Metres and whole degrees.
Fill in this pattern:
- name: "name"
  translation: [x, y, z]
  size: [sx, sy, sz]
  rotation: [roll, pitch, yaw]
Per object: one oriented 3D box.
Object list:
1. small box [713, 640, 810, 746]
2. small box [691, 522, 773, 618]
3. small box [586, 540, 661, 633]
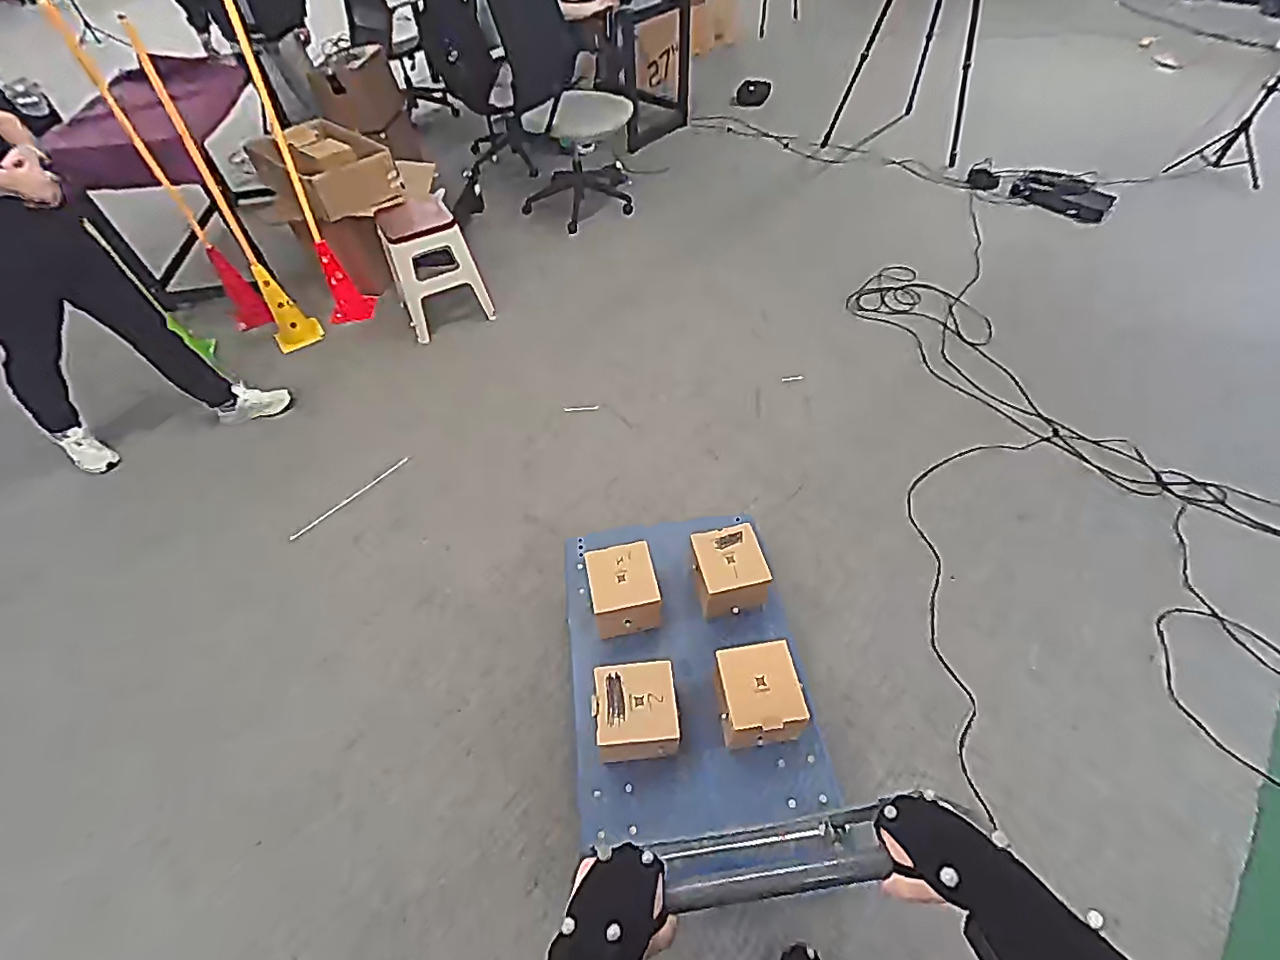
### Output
- name: "small box"
  translation: [0.269, 0.490, 1.241]
  size: [0.168, 0.176, 0.179]
  rotation: [-8, 53, -3]
- name: "small box"
  translation: [0.234, 0.240, 1.432]
  size: [0.168, 0.176, 0.179]
  rotation: [-11, 54, -5]
- name: "small box"
  translation: [-0.041, 0.283, 1.409]
  size: [0.168, 0.176, 0.179]
  rotation: [-10, 53, -6]
